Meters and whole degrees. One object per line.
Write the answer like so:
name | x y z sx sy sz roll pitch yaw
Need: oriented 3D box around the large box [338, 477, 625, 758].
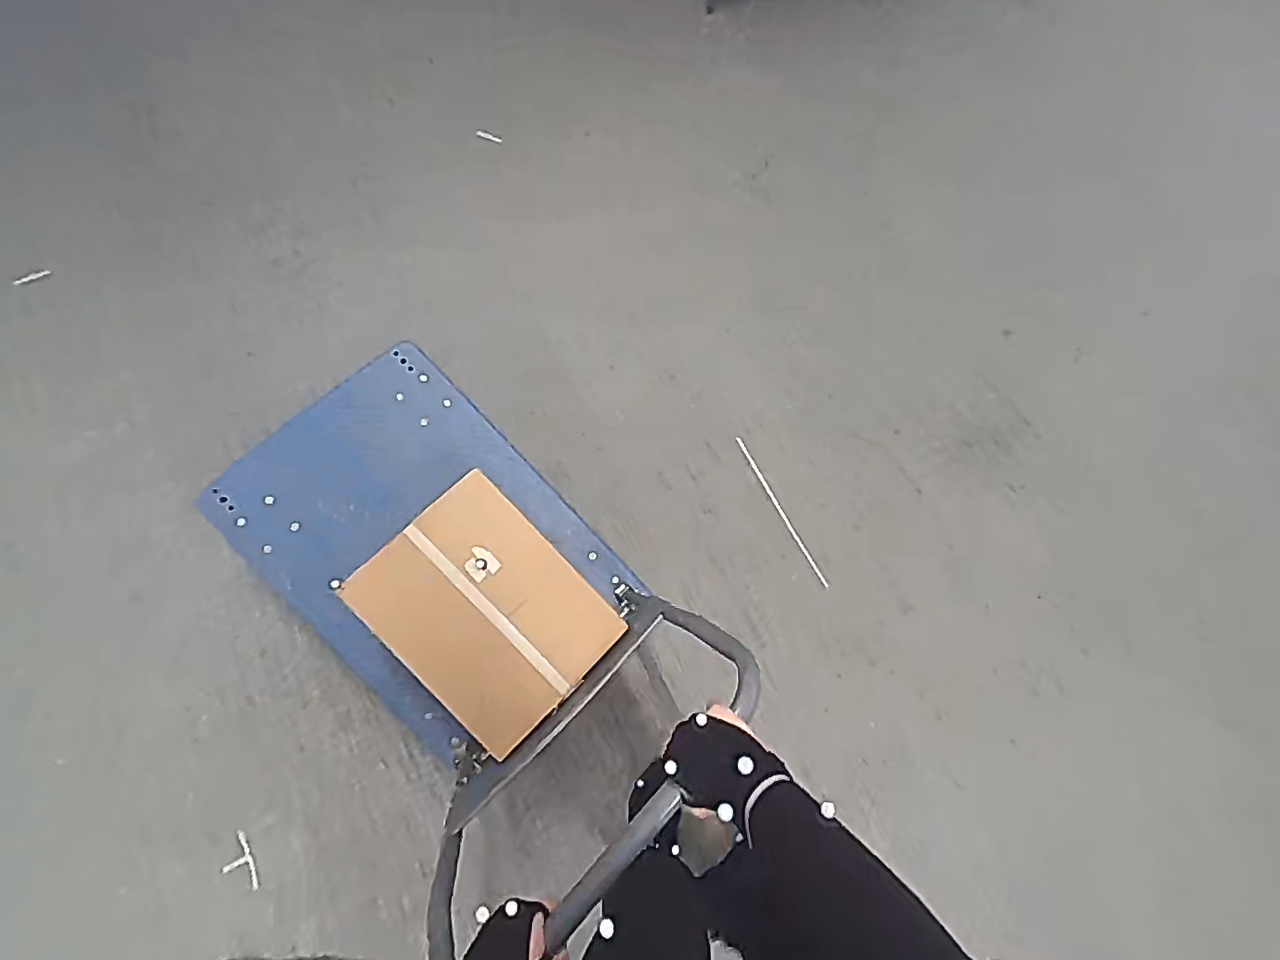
large box | -0.292 0.258 1.093 0.408 0.320 0.320 45 75 0
